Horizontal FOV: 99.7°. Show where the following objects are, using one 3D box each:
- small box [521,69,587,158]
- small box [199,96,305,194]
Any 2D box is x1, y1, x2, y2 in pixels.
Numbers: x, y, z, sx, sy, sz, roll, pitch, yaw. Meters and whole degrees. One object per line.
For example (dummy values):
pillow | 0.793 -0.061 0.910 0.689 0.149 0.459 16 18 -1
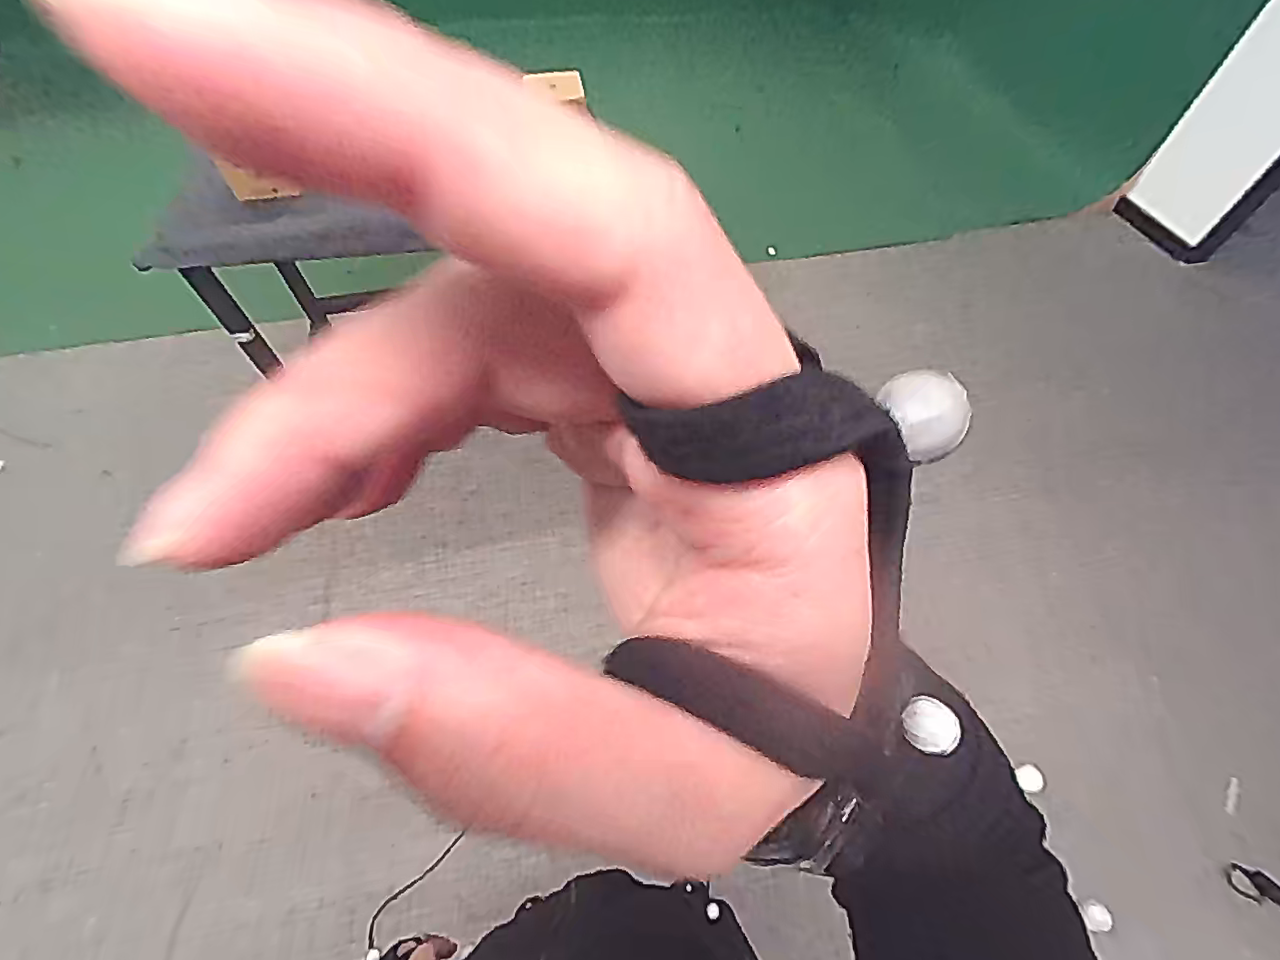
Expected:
small box | -0.246 -1.053 1.564 0.168 0.176 0.179 -8 56 -7
small box | -1.030 -0.892 1.451 0.168 0.176 0.179 -12 58 -9
